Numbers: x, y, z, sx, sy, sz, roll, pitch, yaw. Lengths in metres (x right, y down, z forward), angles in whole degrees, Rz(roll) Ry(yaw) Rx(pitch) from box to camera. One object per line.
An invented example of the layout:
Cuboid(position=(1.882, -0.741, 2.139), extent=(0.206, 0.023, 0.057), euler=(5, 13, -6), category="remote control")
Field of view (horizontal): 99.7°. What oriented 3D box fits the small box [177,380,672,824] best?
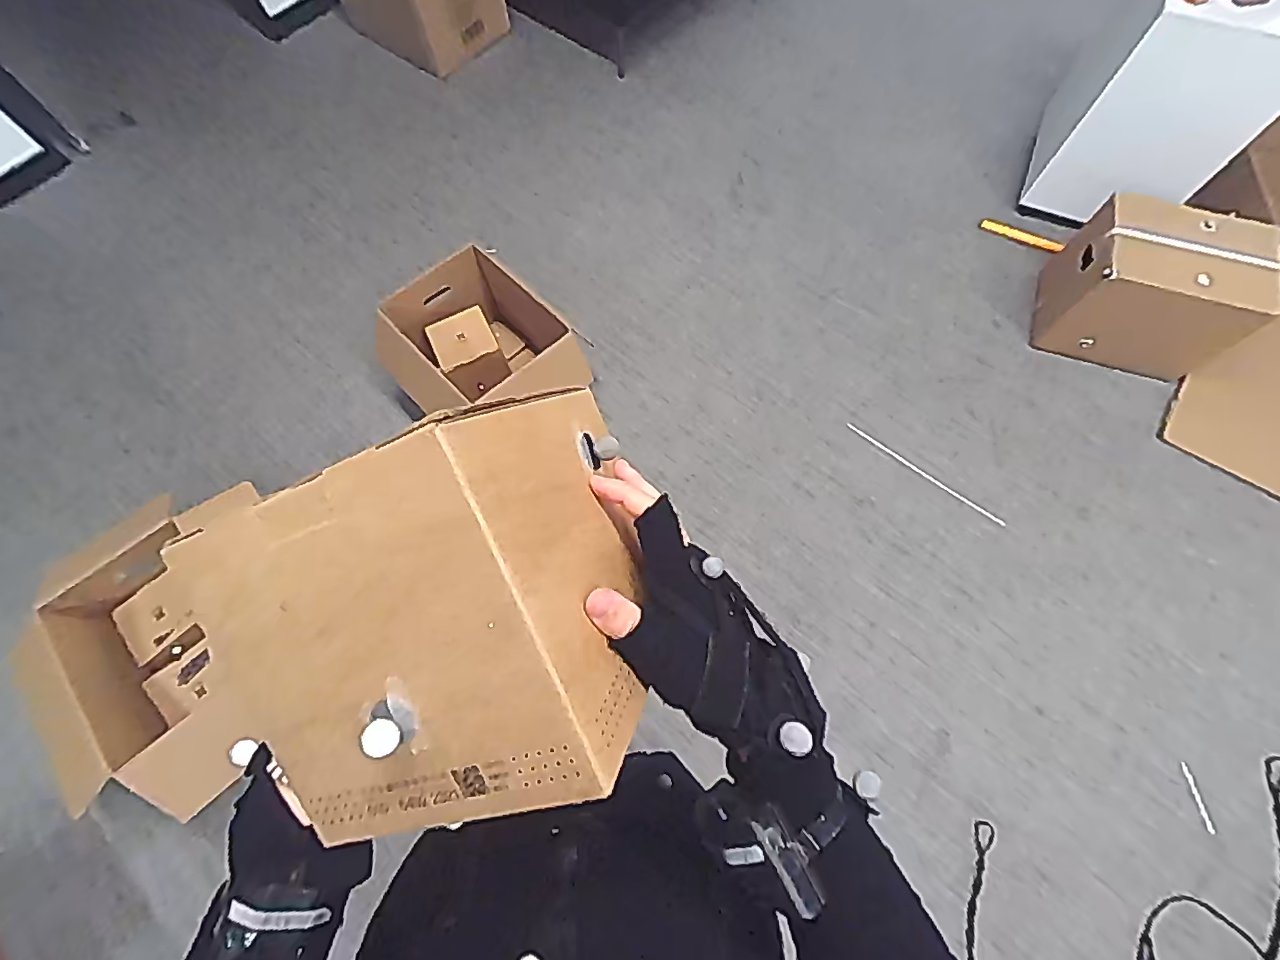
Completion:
Cuboid(position=(-0.093, 0.055, 0.315), extent=(0.168, 0.179, 0.176), euler=(-20, 99, 18), category="small box")
